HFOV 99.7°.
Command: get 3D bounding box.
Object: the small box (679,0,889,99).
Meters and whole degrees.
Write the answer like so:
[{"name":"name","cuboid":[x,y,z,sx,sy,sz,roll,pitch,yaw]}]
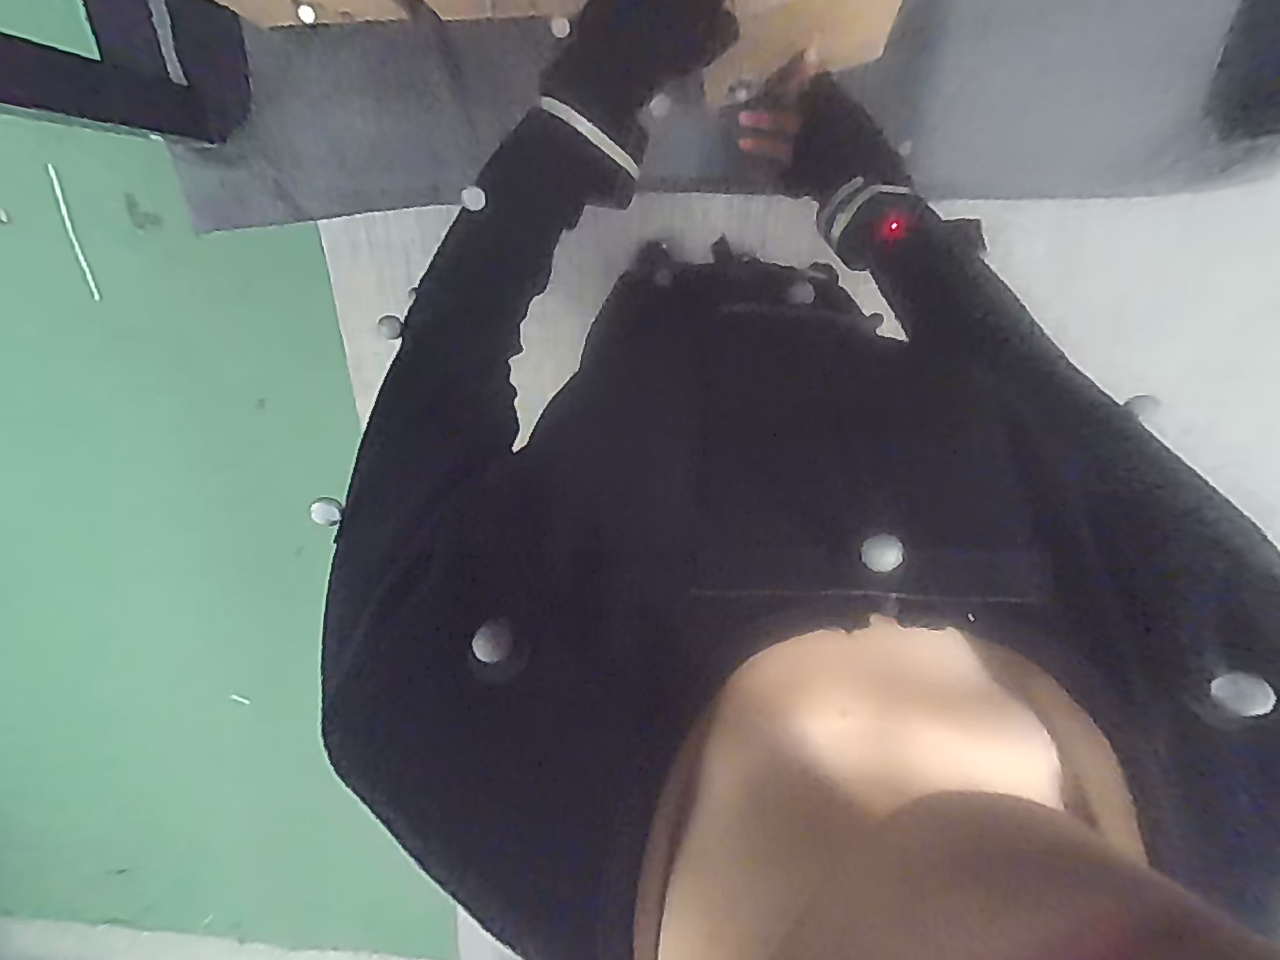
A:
[{"name":"small box","cuboid":[0.111,-0.448,0.438,0.168,0.176,0.179,-8,97,12]}]
